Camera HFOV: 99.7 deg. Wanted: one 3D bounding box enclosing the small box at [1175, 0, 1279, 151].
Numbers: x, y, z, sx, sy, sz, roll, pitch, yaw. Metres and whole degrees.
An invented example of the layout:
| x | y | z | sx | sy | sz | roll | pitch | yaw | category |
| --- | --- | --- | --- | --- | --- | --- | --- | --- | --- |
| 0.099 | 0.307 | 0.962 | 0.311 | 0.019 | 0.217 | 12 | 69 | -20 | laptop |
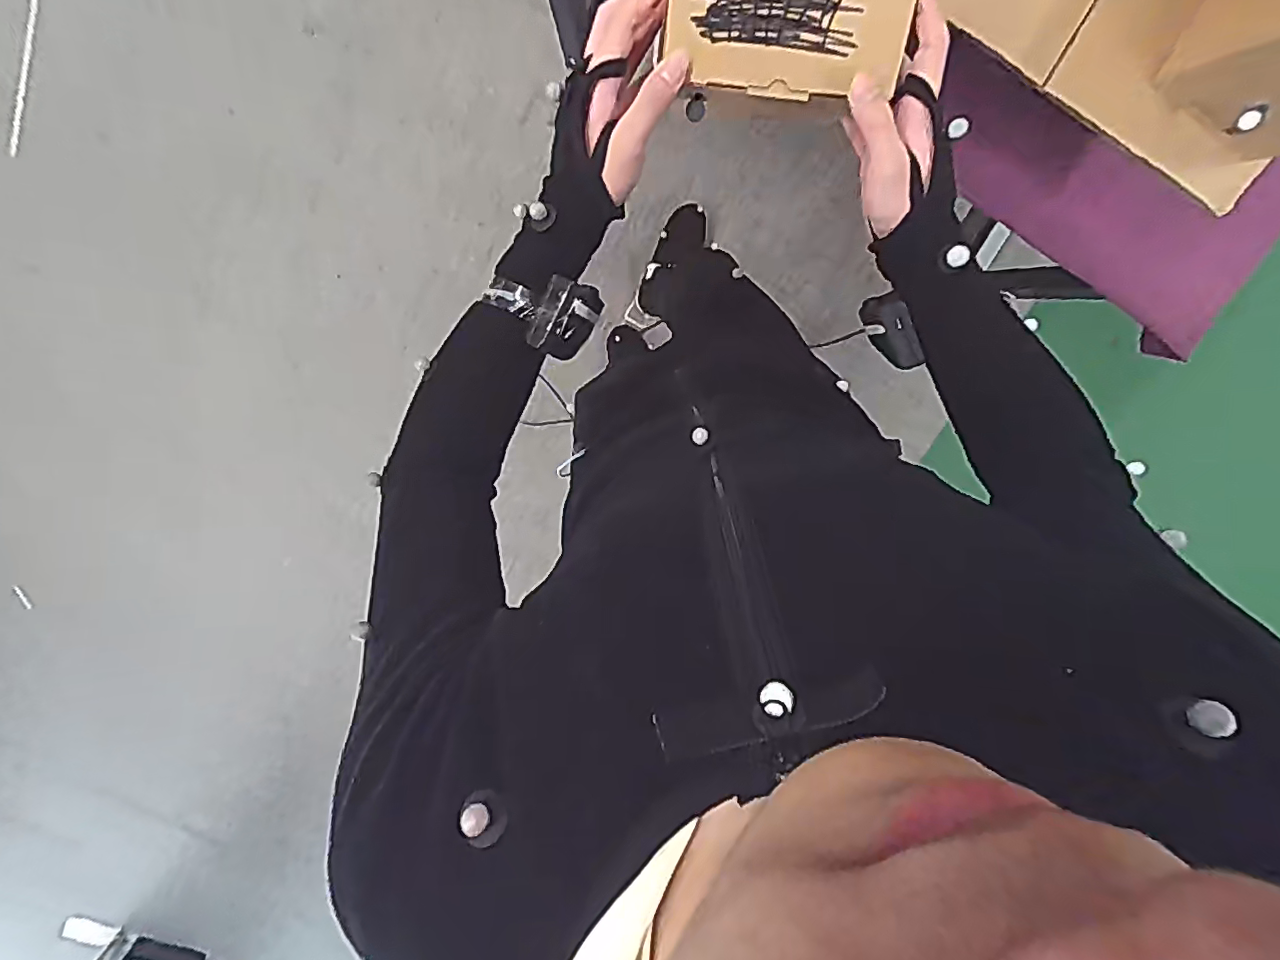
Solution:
| x | y | z | sx | sy | sz | roll | pitch | yaw | category |
| --- | --- | --- | --- | --- | --- | --- | --- | --- | --- |
| 0.665 | -0.438 | 0.485 | 0.168 | 0.176 | 0.179 | 24 | 107 | -11 | small box |
